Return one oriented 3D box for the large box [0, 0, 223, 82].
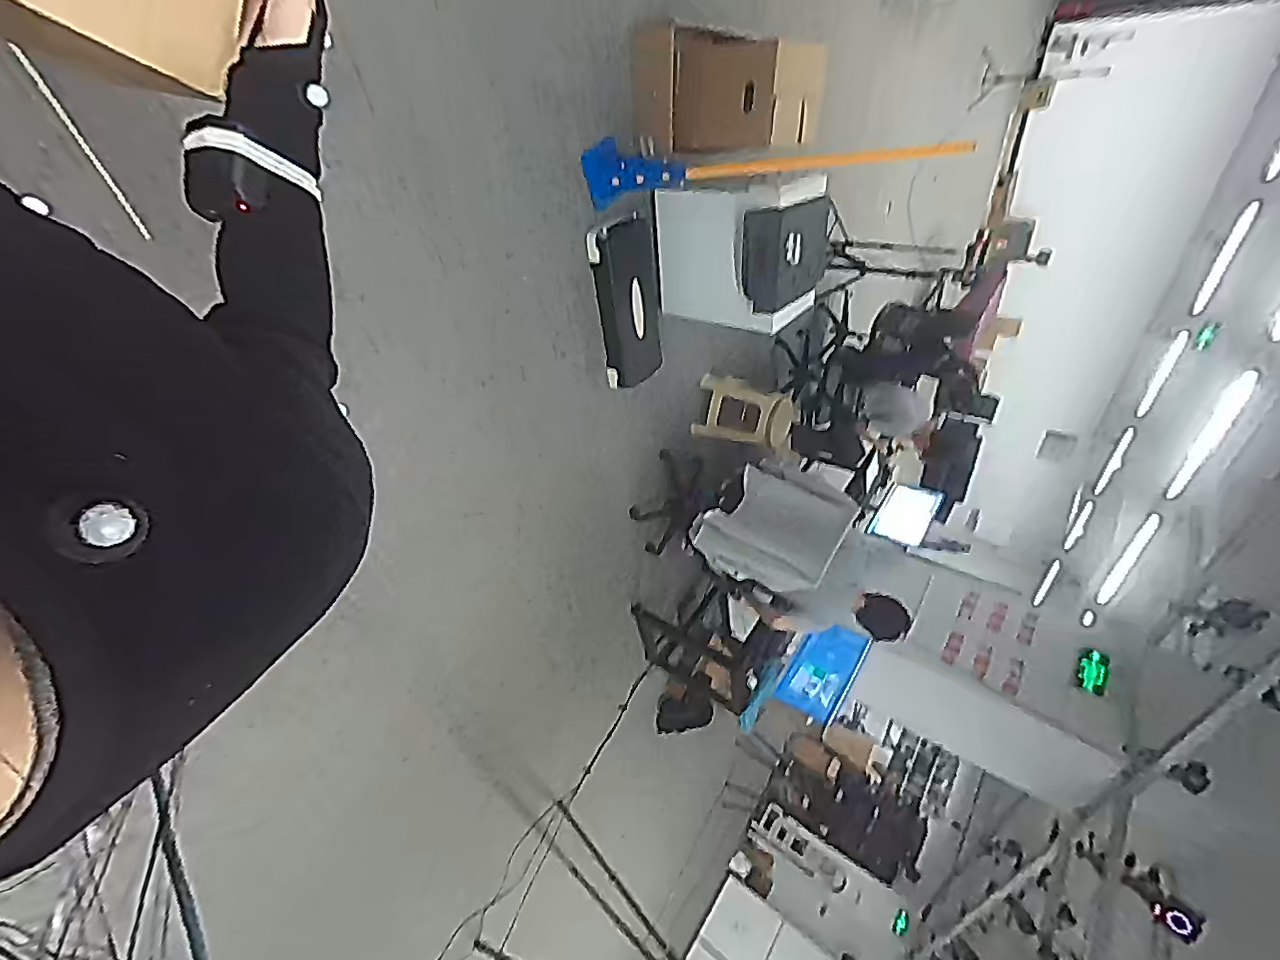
[{"bbox_3d":[-0.515,-0.502,0.299,0.408,0.320,0.320,-4,116,-57],"label":"large box"}]
